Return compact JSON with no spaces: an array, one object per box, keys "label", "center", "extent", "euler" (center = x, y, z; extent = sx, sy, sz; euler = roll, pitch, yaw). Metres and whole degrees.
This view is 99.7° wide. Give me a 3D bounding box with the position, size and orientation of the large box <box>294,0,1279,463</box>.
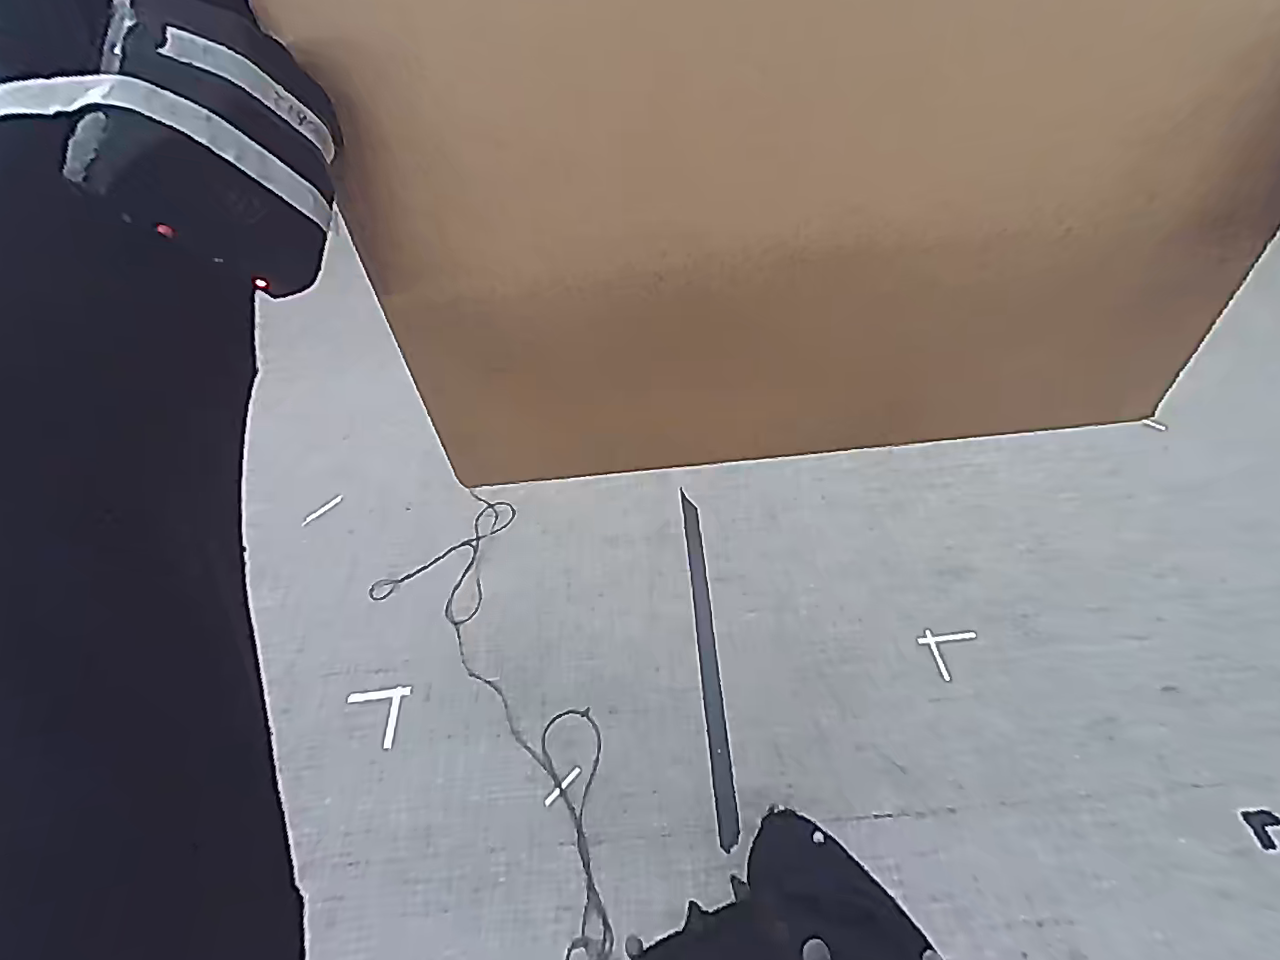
[{"label":"large box","center":[0.070,-0.236,0.333],"extent":[0.408,0.320,0.320],"euler":[-5,43,0]}]
